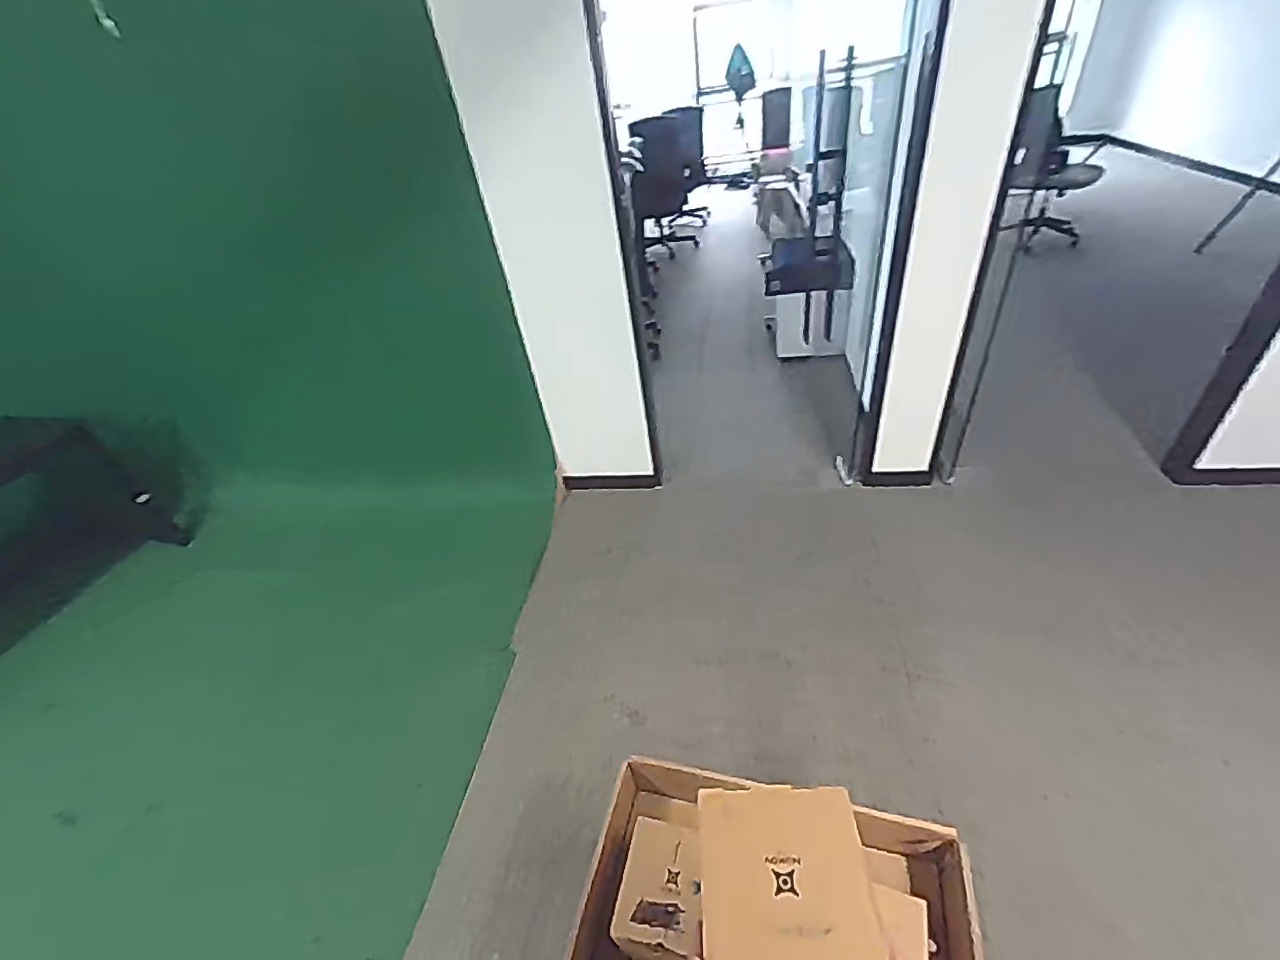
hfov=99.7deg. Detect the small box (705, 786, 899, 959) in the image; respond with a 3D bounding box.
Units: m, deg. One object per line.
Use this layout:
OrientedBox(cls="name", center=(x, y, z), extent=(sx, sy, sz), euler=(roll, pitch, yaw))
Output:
OrientedBox(cls="small box", center=(0.153, 0.450, 0.563), extent=(0.168, 0.176, 0.179), euler=(-4, 34, 6))
